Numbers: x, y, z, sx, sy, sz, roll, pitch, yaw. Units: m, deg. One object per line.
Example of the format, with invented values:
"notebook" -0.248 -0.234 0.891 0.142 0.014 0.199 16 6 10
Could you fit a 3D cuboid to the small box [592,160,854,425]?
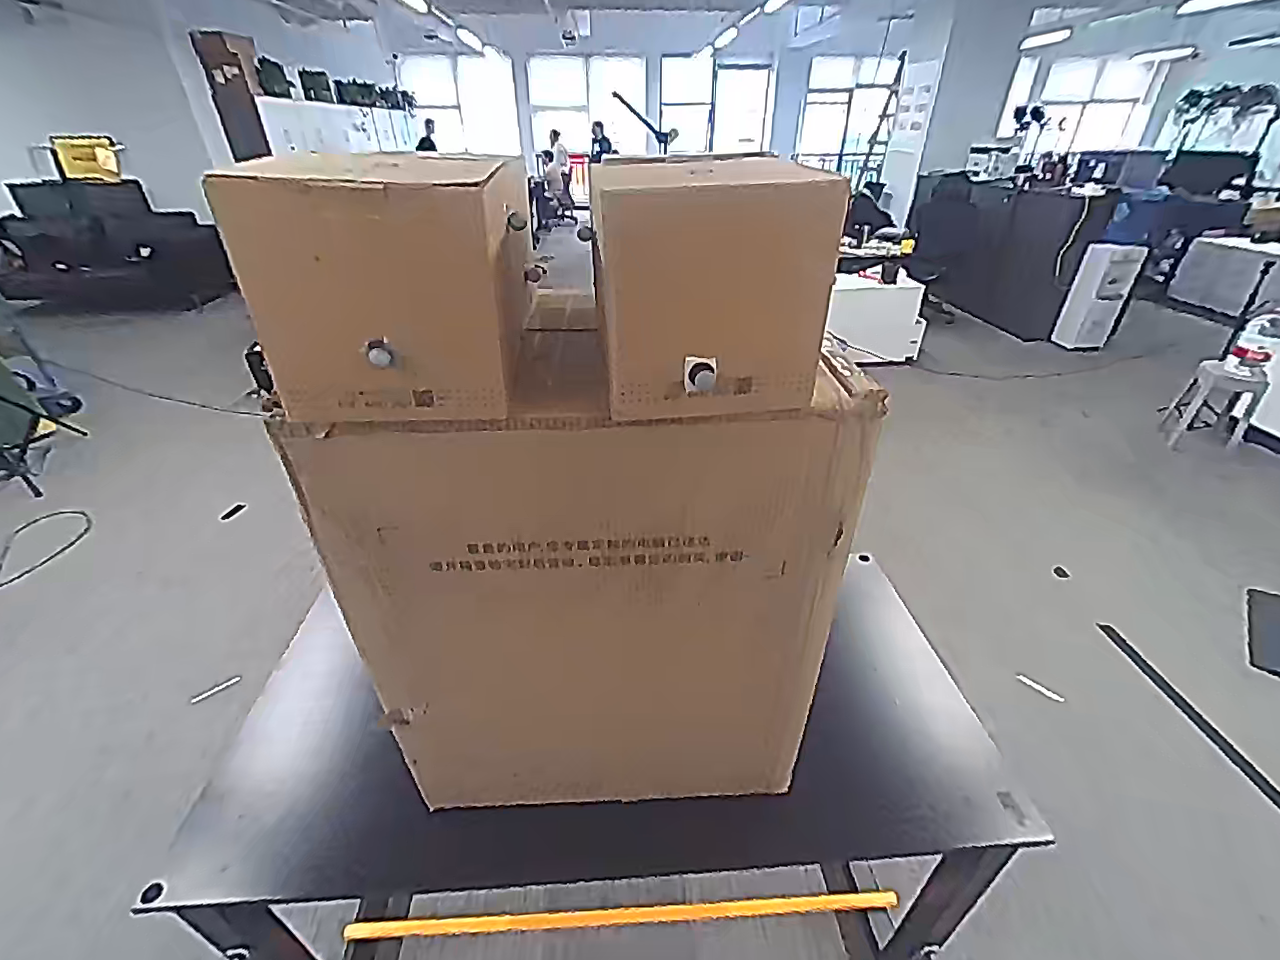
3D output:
"small box" 0.050 -0.163 0.455 0.168 0.176 0.179 -6 36 -5
